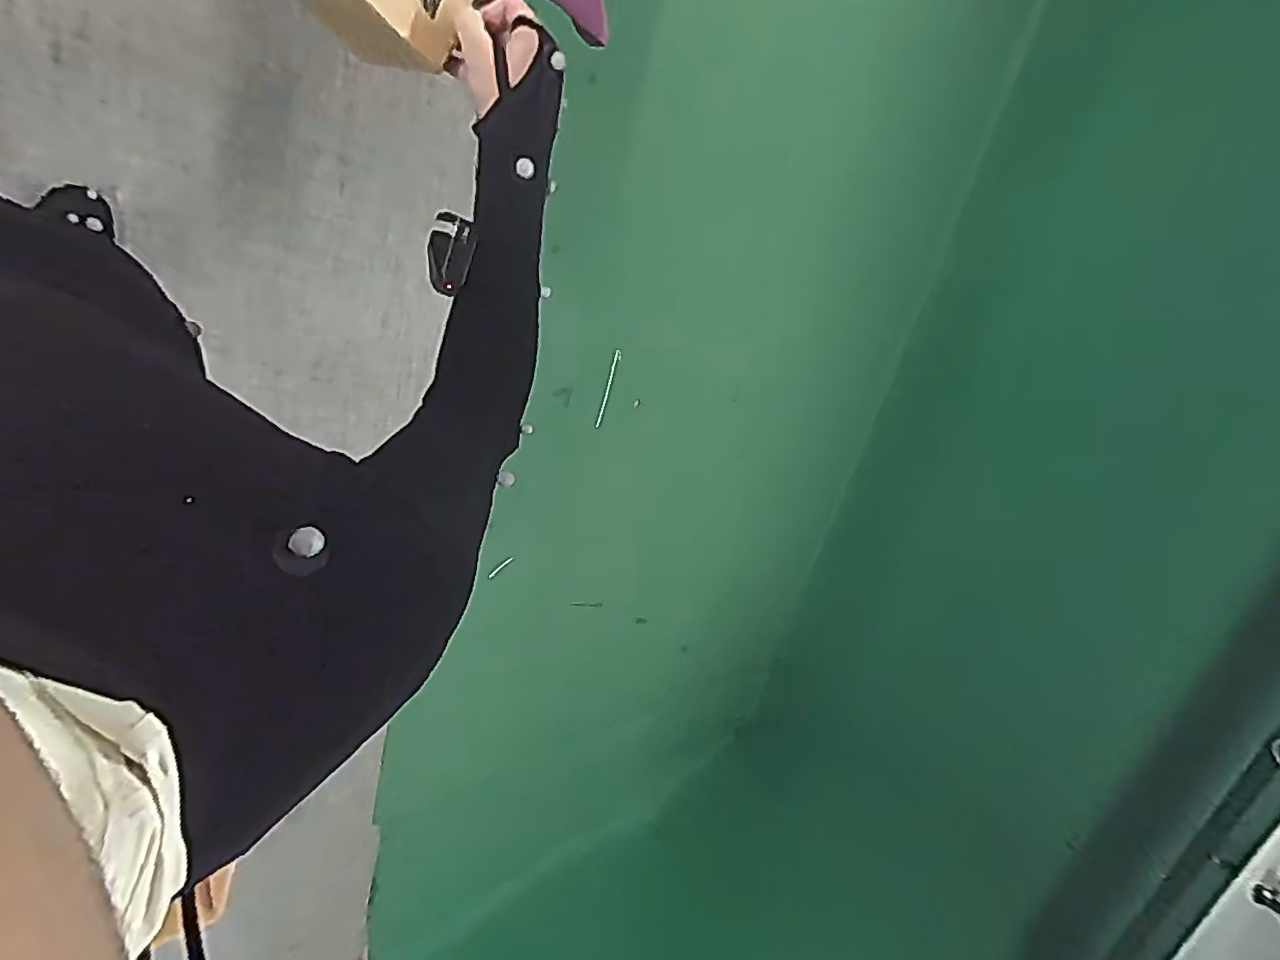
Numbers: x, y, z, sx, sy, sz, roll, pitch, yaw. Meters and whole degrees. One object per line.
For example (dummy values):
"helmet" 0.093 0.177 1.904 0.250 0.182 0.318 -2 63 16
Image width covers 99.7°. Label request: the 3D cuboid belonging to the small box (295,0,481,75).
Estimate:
"small box" -0.219 -0.460 0.412 0.179 0.176 0.168 23 101 -54
